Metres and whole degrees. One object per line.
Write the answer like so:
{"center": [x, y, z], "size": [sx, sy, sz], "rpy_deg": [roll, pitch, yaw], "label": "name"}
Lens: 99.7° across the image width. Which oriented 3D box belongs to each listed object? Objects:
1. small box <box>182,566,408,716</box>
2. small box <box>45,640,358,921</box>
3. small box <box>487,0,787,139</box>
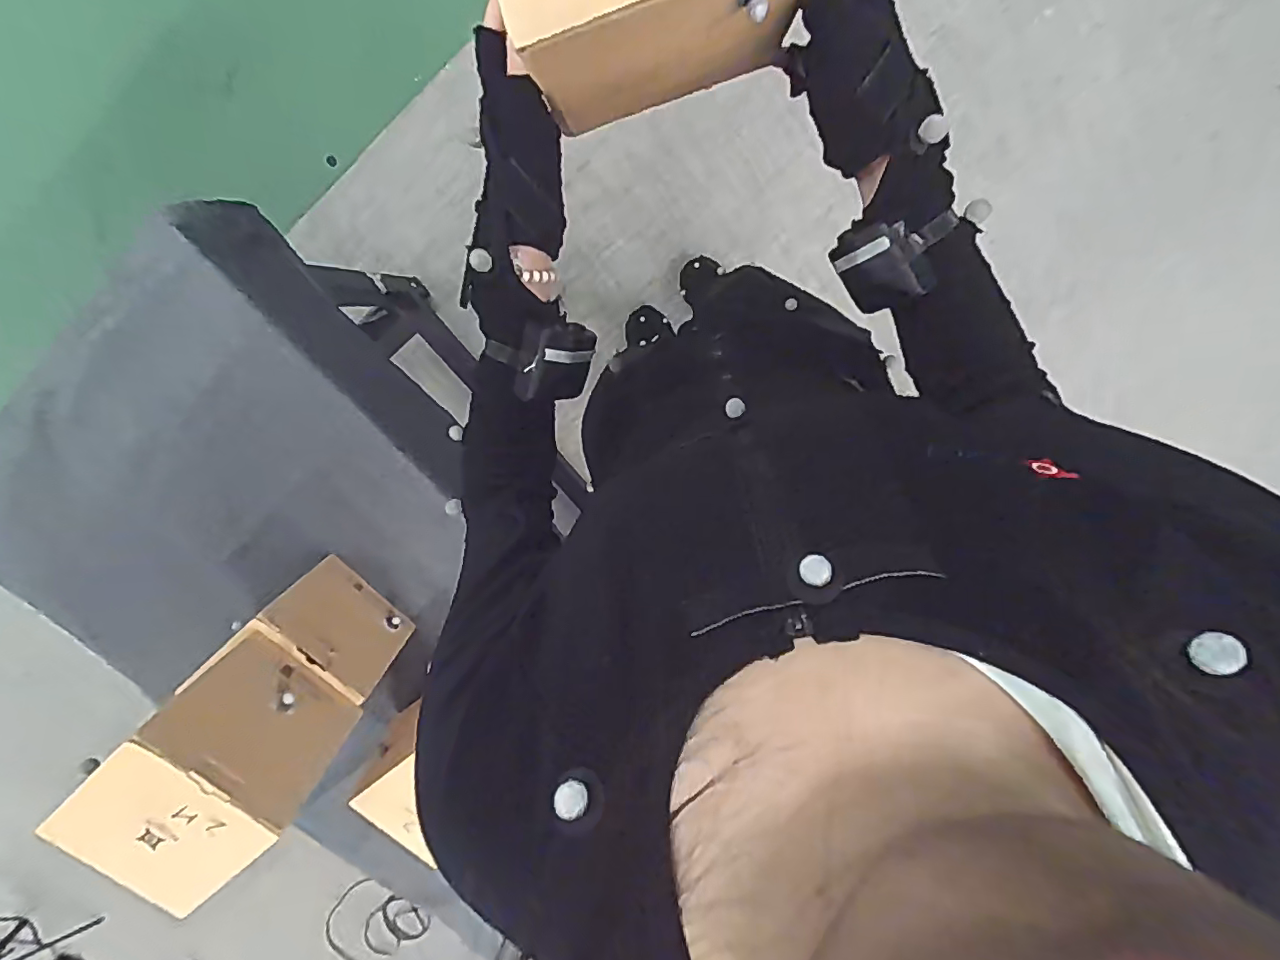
{"center": [-0.452, 0.250, 0.746], "size": [0.179, 0.176, 0.168], "rpy_deg": [-40, 103, 13], "label": "small box"}
{"center": [-0.457, 0.318, 0.596], "size": [0.179, 0.176, 0.168], "rpy_deg": [-41, 103, 12], "label": "small box"}
{"center": [-0.008, -0.342, 0.329], "size": [0.179, 0.176, 0.168], "rpy_deg": [-17, 107, 7], "label": "small box"}
